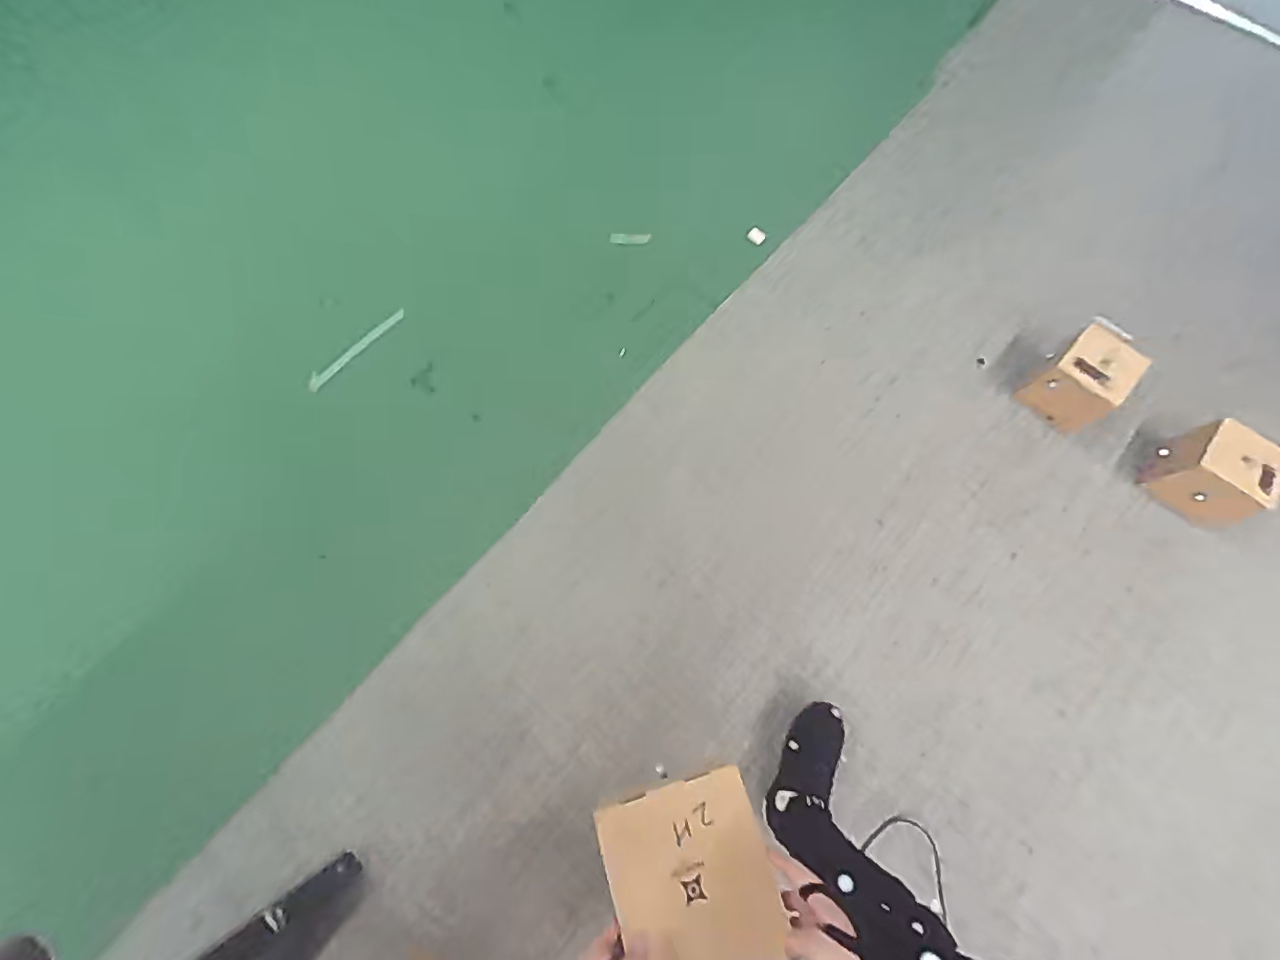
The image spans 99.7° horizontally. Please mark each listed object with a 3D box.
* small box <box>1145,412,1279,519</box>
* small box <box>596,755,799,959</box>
[{"bbox_3d":[1.393,-0.025,1.297,0.179,0.176,0.168,38,76,11],"label":"small box"},{"bbox_3d":[0.055,0.430,0.613,0.168,0.176,0.179,-15,66,-6],"label":"small box"}]
